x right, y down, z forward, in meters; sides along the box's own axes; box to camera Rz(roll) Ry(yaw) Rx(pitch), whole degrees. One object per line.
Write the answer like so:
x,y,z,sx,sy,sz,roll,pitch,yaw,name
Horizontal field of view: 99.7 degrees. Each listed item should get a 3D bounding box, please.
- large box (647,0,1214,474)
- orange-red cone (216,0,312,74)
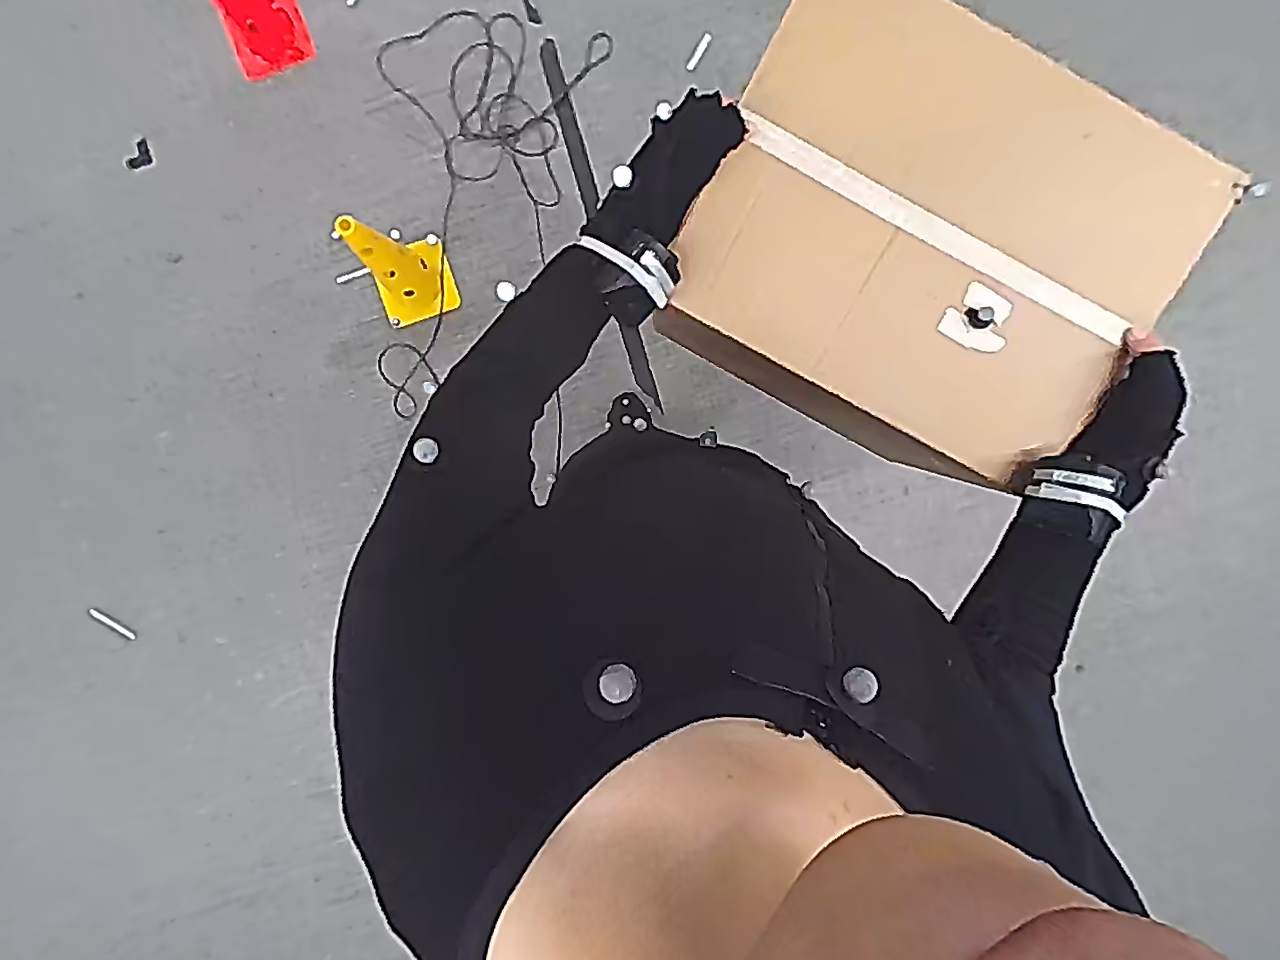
0.248,-0.245,0.618,0.408,0.320,0.320,27,99,-3,large box
-0.978,-1.176,1.249,0.198,0.360,0.199,-20,94,1,orange-red cone
